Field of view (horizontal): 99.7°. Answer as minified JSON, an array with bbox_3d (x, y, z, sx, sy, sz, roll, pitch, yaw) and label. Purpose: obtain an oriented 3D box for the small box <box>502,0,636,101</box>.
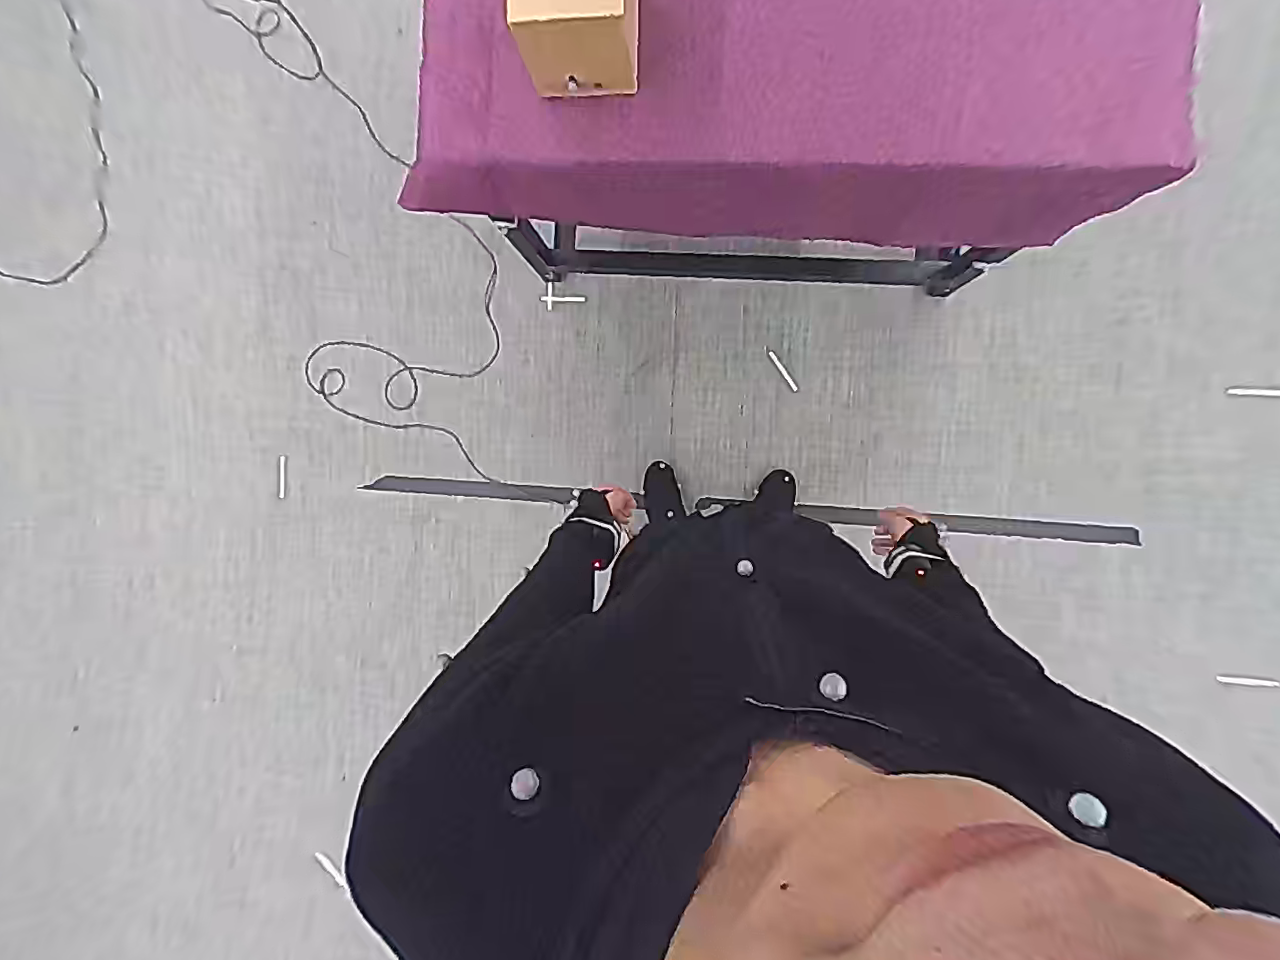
[{"bbox_3d":[-0.098,-0.711,0.810,0.168,0.176,0.179,2,93,6],"label":"small box"}]
